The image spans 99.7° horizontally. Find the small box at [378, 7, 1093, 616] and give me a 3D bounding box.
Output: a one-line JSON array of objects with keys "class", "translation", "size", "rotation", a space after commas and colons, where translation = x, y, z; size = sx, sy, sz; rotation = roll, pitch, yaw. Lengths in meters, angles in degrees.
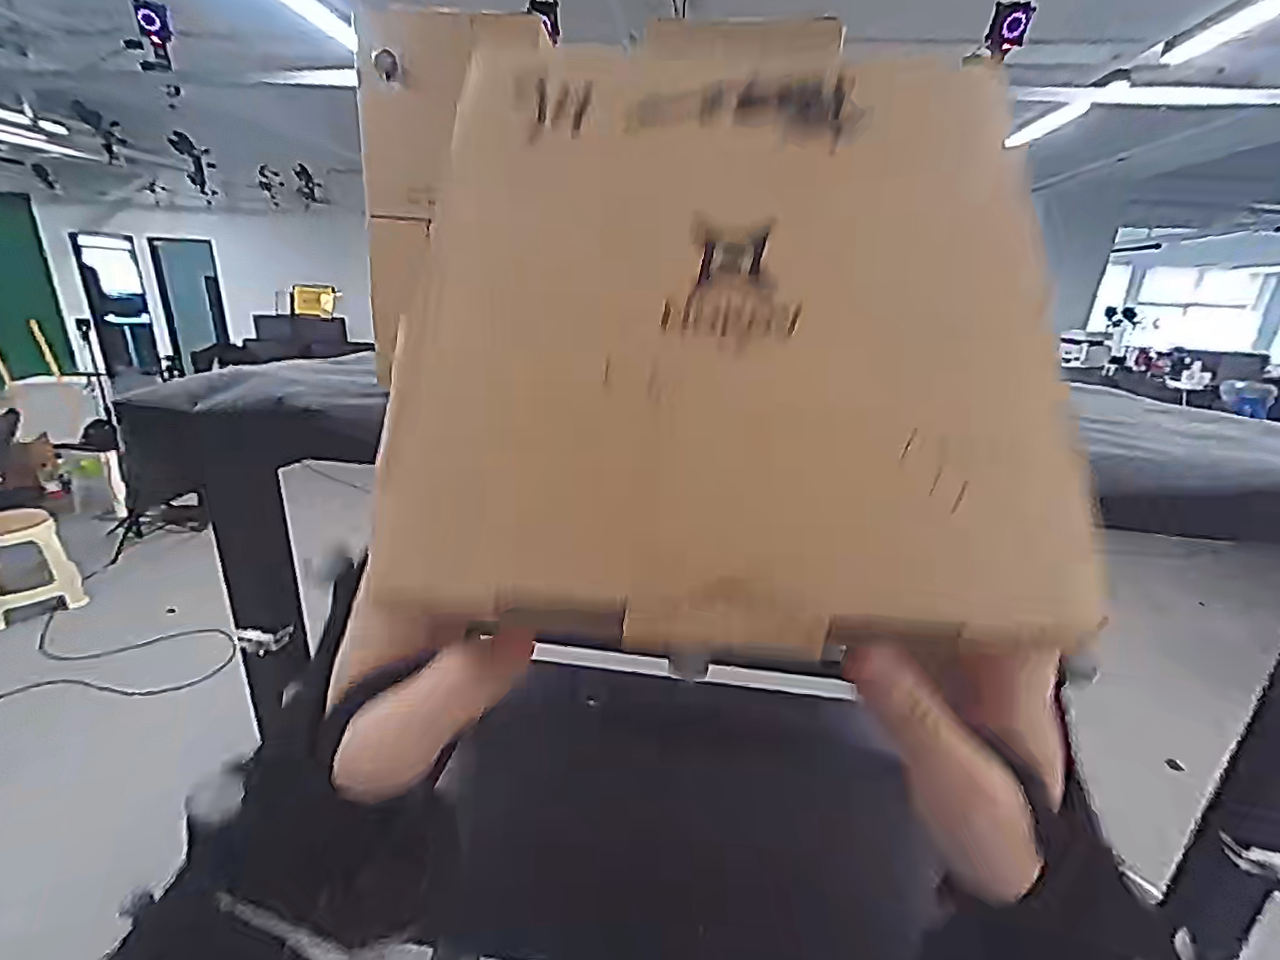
[{"class": "small box", "translation": [0.026, -0.039, 0.221], "size": [0.168, 0.179, 0.176], "rotation": [3, -16, 2]}]

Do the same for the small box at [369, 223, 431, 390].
[{"class": "small box", "translation": [-0.174, -0.181, 0.609], "size": [0.168, 0.176, 0.179], "rotation": [5, 16, 3]}]
